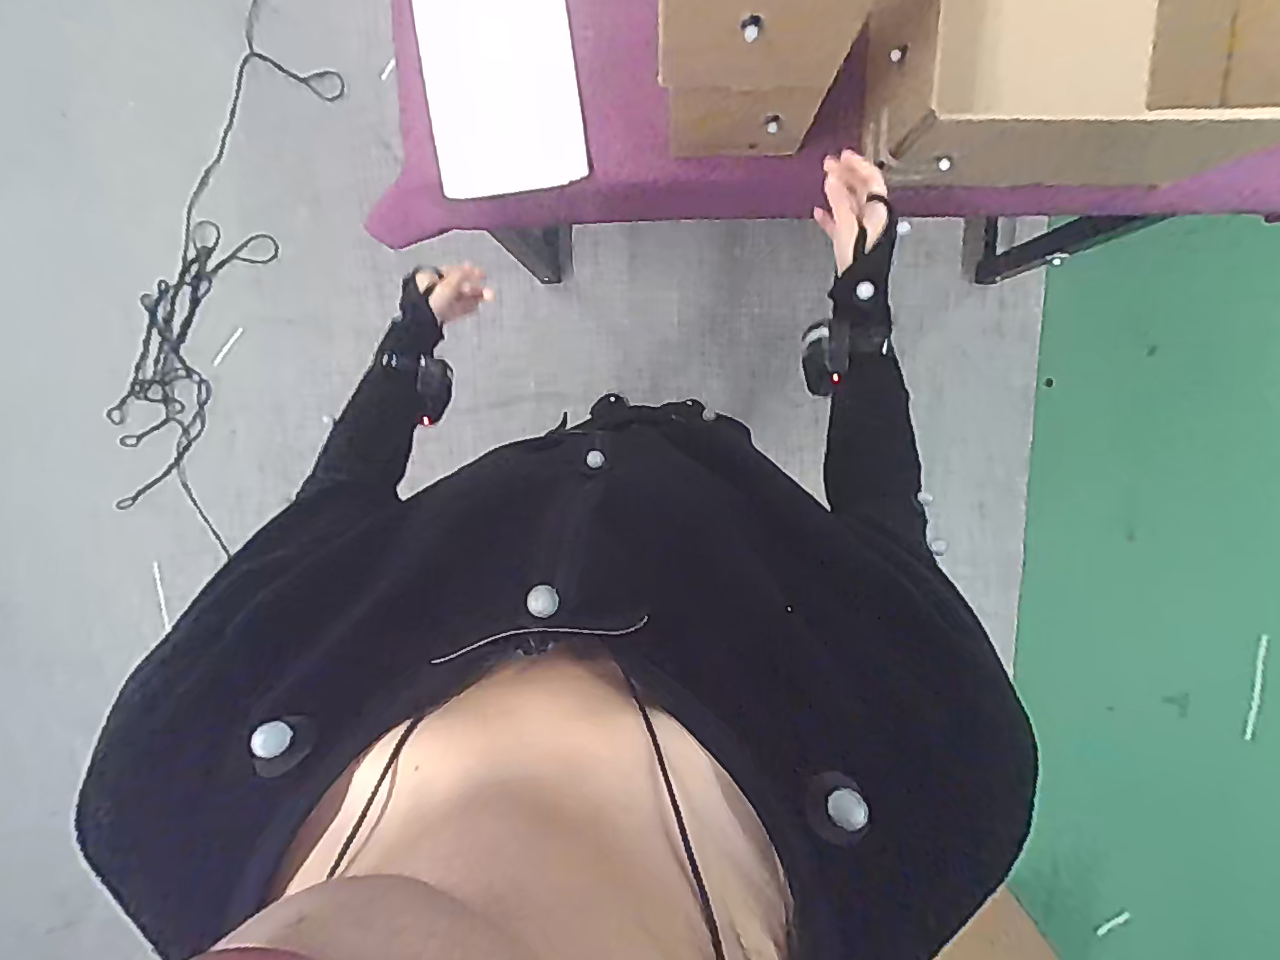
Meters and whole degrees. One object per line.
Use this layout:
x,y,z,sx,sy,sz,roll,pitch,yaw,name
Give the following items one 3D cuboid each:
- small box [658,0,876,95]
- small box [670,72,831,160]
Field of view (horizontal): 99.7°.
0.106,-0.466,0.464,0.179,0.176,0.168,2,96,3,small box
0.121,-0.495,0.625,0.168,0.176,0.179,2,96,2,small box
